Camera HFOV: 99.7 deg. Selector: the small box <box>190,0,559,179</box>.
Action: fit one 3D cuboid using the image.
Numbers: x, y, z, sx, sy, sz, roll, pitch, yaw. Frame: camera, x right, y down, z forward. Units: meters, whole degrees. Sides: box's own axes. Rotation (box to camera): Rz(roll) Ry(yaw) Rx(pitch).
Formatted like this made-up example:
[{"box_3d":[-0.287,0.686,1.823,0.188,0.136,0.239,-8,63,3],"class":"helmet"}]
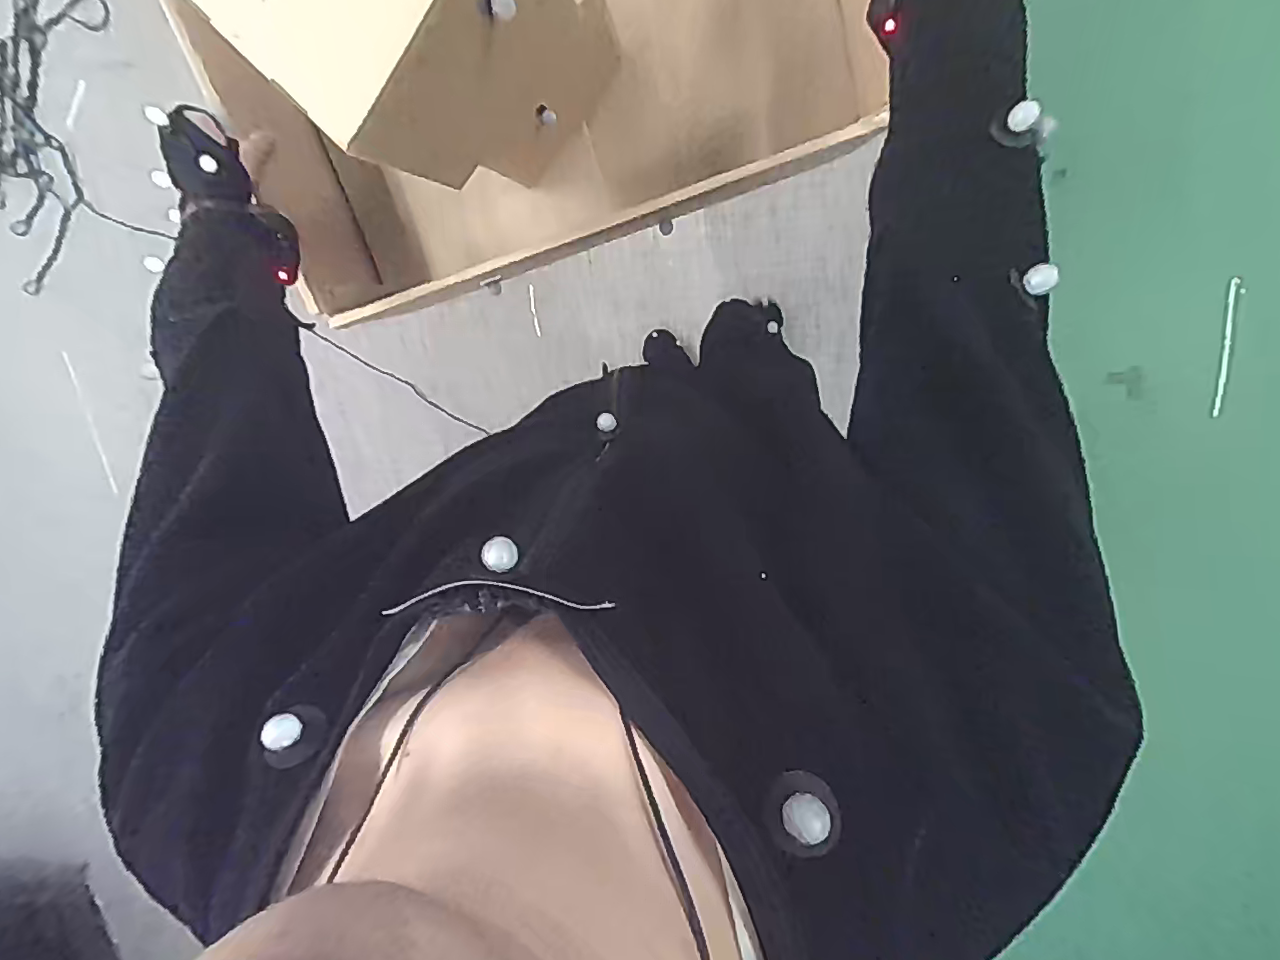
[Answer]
[{"box_3d":[-0.174,-0.345,0.369,0.168,0.176,0.179,44,111,-9],"class":"small box"}]
